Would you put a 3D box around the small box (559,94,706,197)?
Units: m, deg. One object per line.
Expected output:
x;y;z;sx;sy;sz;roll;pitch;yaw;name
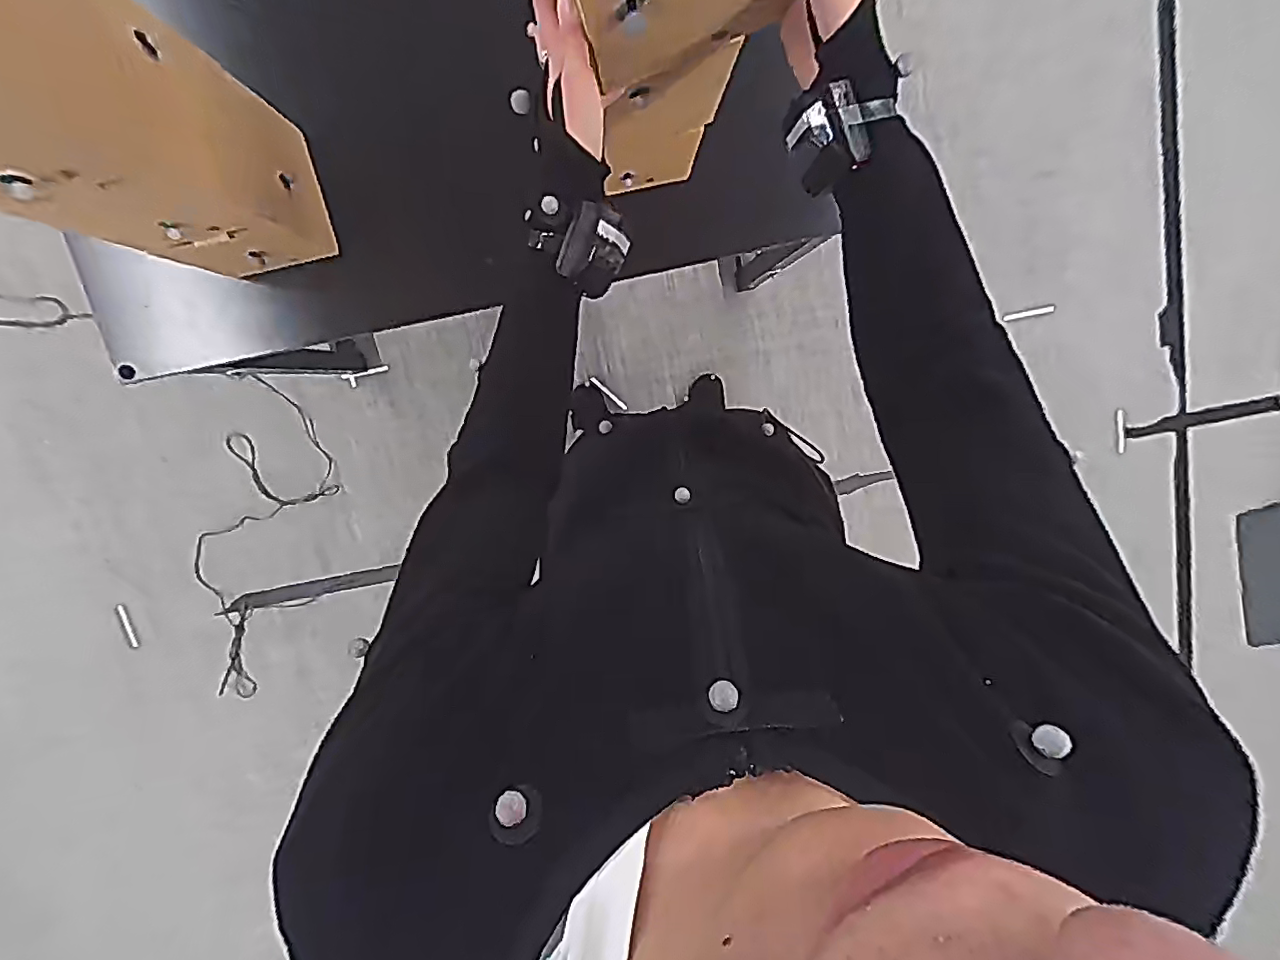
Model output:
-0.020;-0.507;0.716;0.168;0.176;0.179;-13;101;0;small box

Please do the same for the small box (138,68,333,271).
-0.544;-0.387;0.712;0.168;0.176;0.179;-14;101;-1;small box

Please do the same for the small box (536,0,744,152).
-0.011;-0.472;0.556;0.179;0.176;0.168;-16;101;-1;small box

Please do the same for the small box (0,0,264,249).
-0.536;-0.359;0.549;0.168;0.176;0.179;-13;101;0;small box
